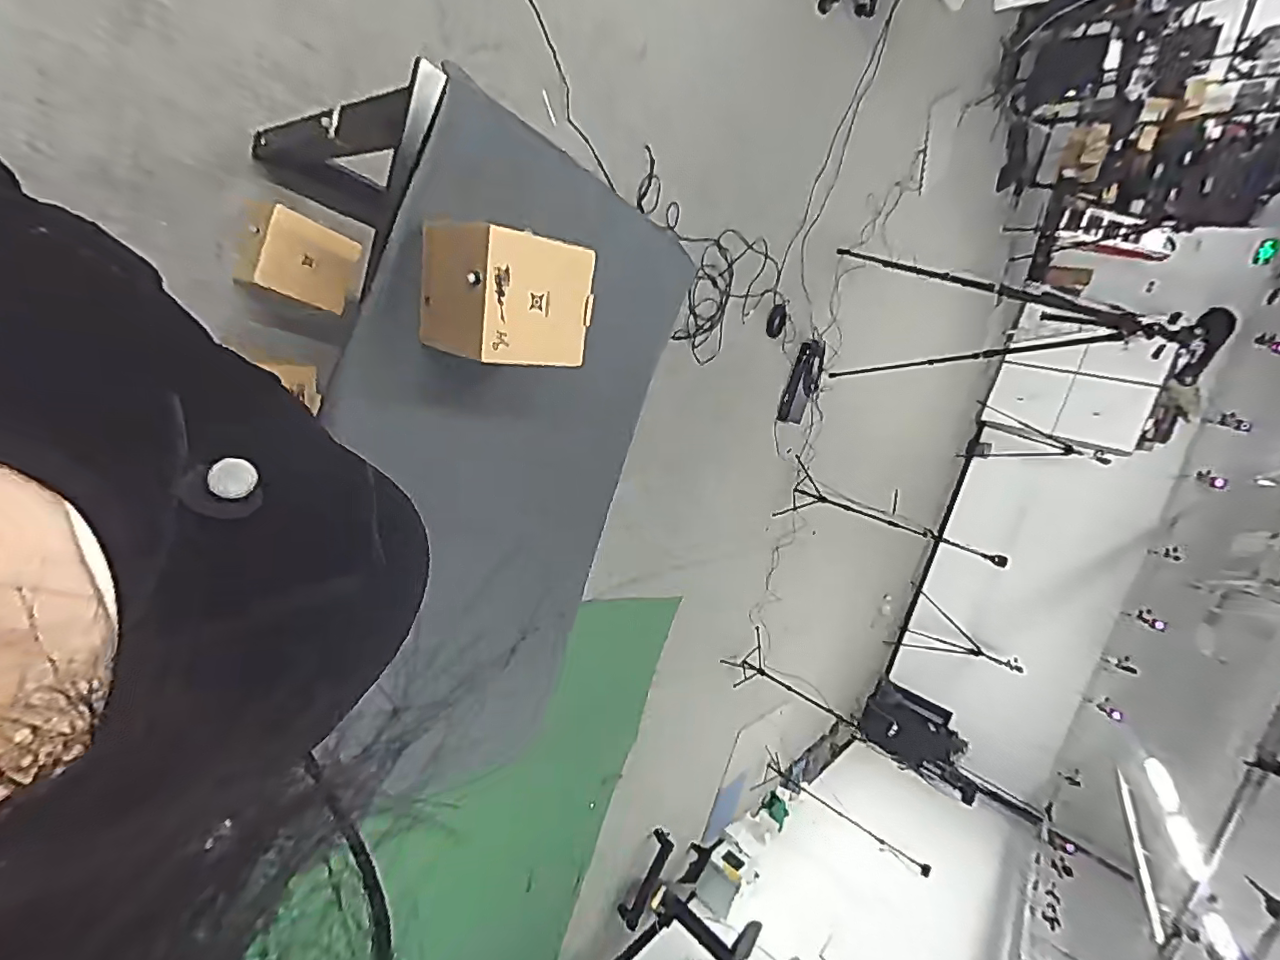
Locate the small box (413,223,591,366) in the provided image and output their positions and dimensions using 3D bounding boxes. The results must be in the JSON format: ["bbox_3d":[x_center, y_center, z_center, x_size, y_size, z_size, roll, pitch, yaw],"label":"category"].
[{"bbox_3d":[-0.198,-0.264,0.776,0.179,0.176,0.168,-10,115,-48],"label":"small box"}]

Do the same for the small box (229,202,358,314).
[{"bbox_3d":[-0.764,-0.482,1.187,0.179,0.176,0.168,15,95,-53],"label":"small box"}]
